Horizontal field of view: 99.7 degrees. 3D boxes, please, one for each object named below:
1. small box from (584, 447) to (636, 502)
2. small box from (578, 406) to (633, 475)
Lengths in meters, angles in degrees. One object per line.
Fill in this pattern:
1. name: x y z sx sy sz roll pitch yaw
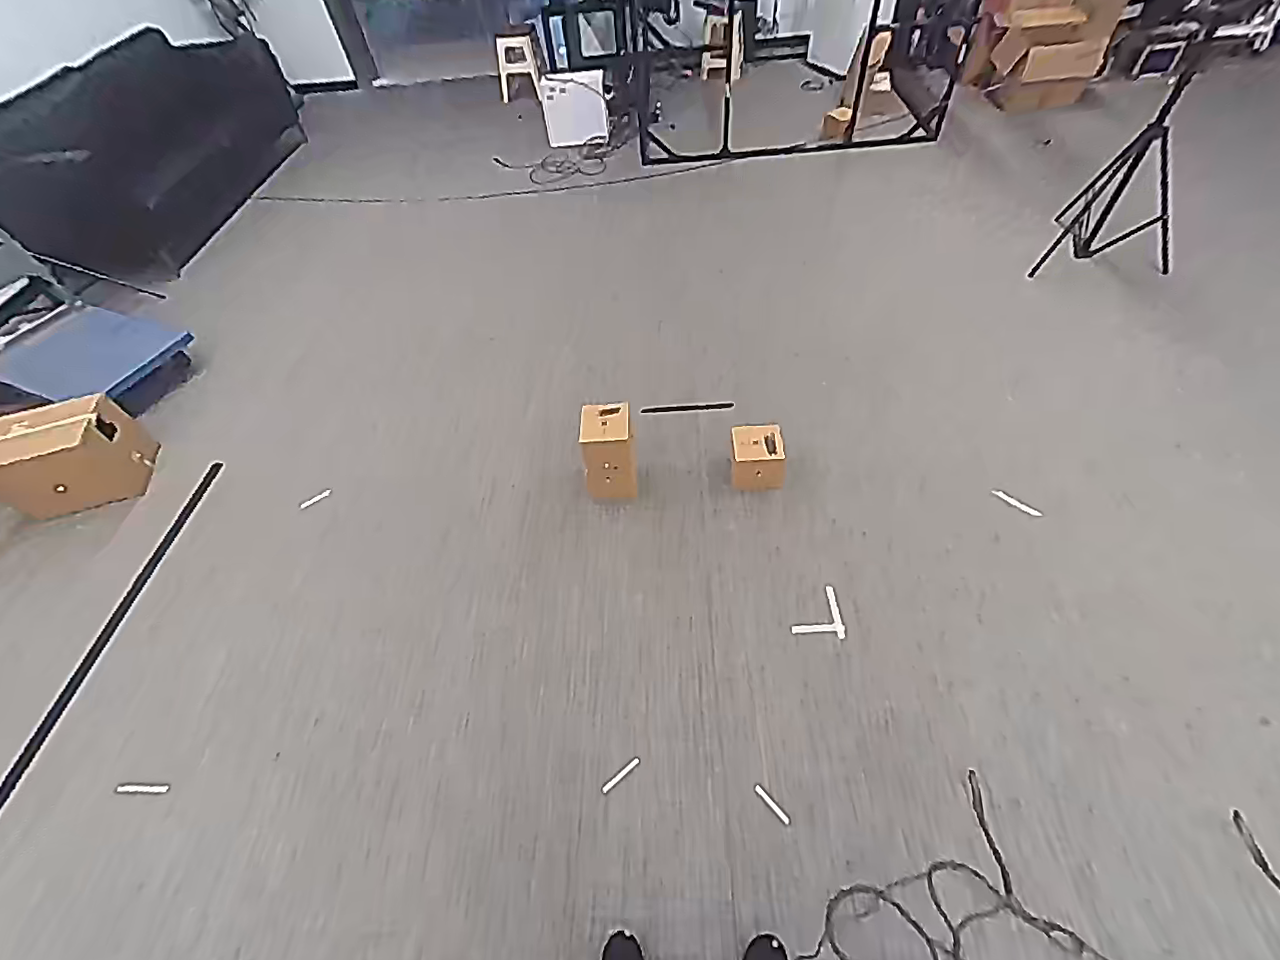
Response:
1. small box: -0.106 -0.033 2.015 0.179 0.176 0.168 -4 52 4
2. small box: -0.115 -0.137 1.888 0.168 0.176 0.179 -3 52 5
